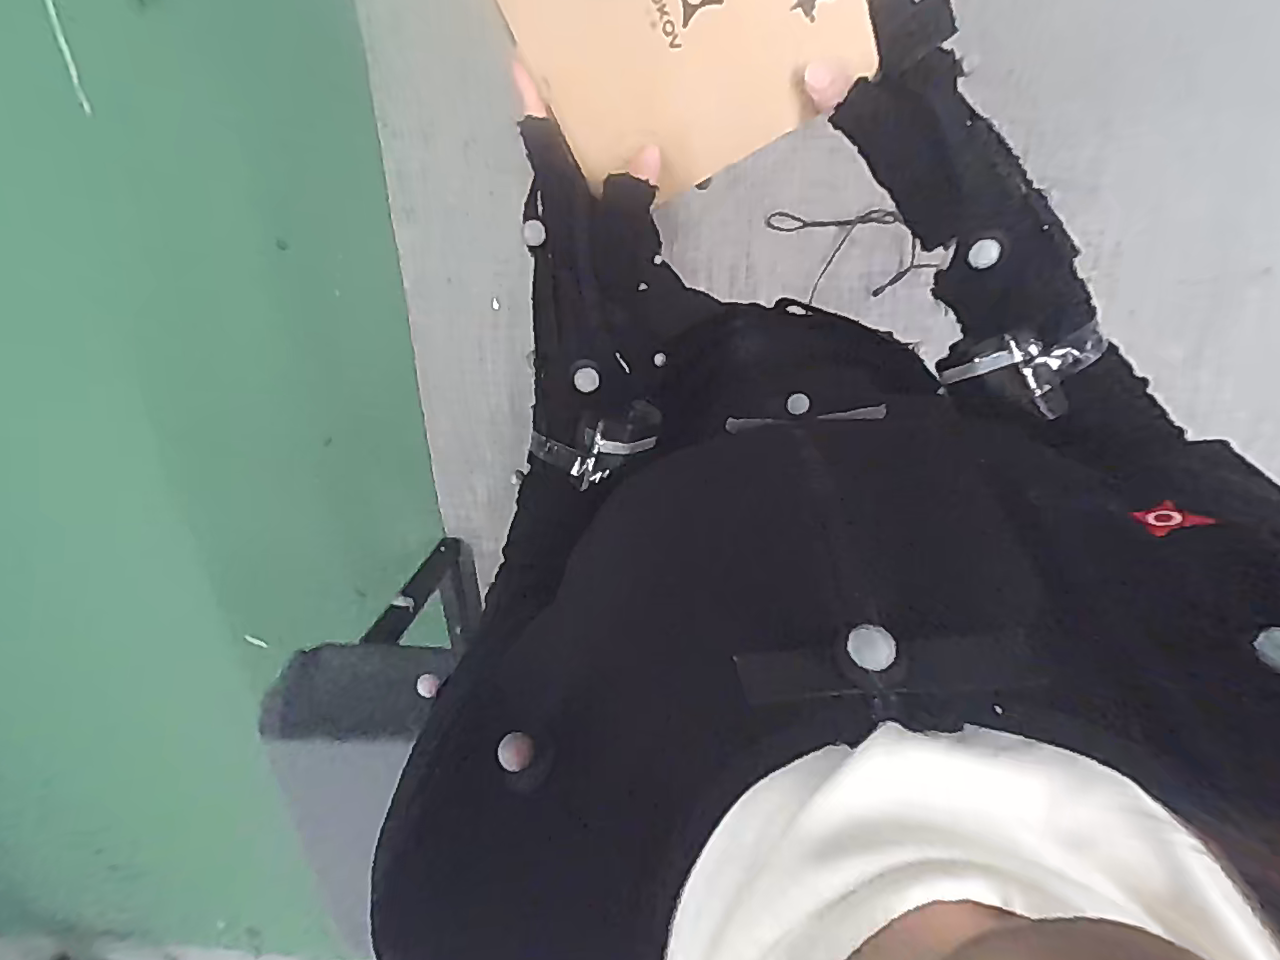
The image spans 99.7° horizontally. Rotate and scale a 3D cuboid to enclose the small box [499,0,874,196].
[{"bbox_3d":[0.017,-0.311,0.349,0.179,0.176,0.168,-25,118,15],"label":"small box"}]
